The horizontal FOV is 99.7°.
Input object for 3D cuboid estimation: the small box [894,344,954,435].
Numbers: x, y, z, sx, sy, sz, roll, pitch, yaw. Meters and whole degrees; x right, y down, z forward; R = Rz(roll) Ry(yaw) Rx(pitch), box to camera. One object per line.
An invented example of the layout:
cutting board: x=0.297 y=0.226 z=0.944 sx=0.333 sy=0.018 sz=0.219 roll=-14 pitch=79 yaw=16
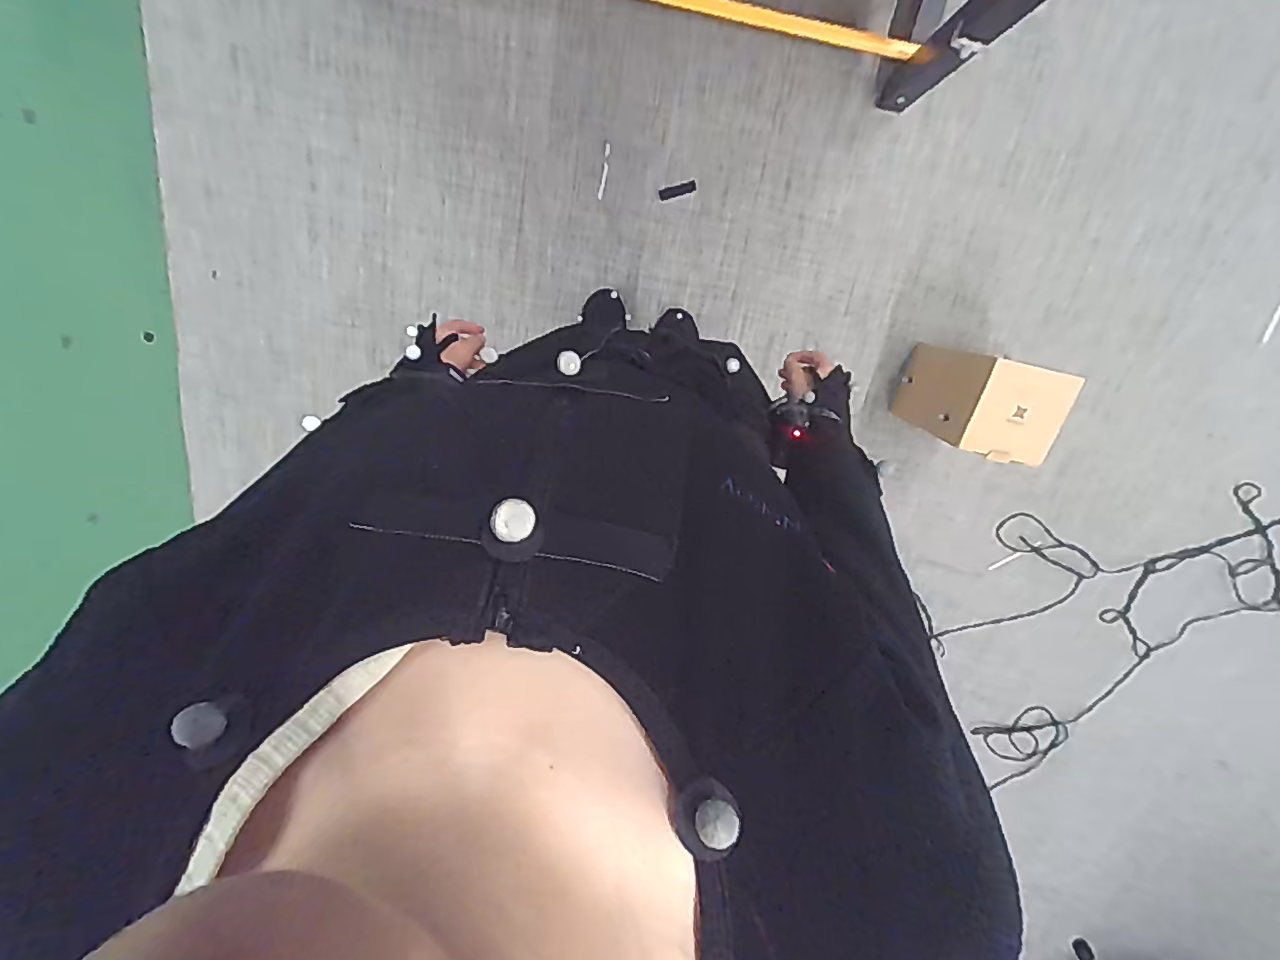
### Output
small box: x=0.699 y=-0.193 z=1.209 sx=0.168 sy=0.176 sz=0.179 roll=14 pitch=111 yaw=-2

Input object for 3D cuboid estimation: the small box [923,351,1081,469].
small box: x=0.687 y=-0.143 z=1.054 sx=0.168 sy=0.176 sz=0.179 roll=12 pitch=109 yaw=-2
